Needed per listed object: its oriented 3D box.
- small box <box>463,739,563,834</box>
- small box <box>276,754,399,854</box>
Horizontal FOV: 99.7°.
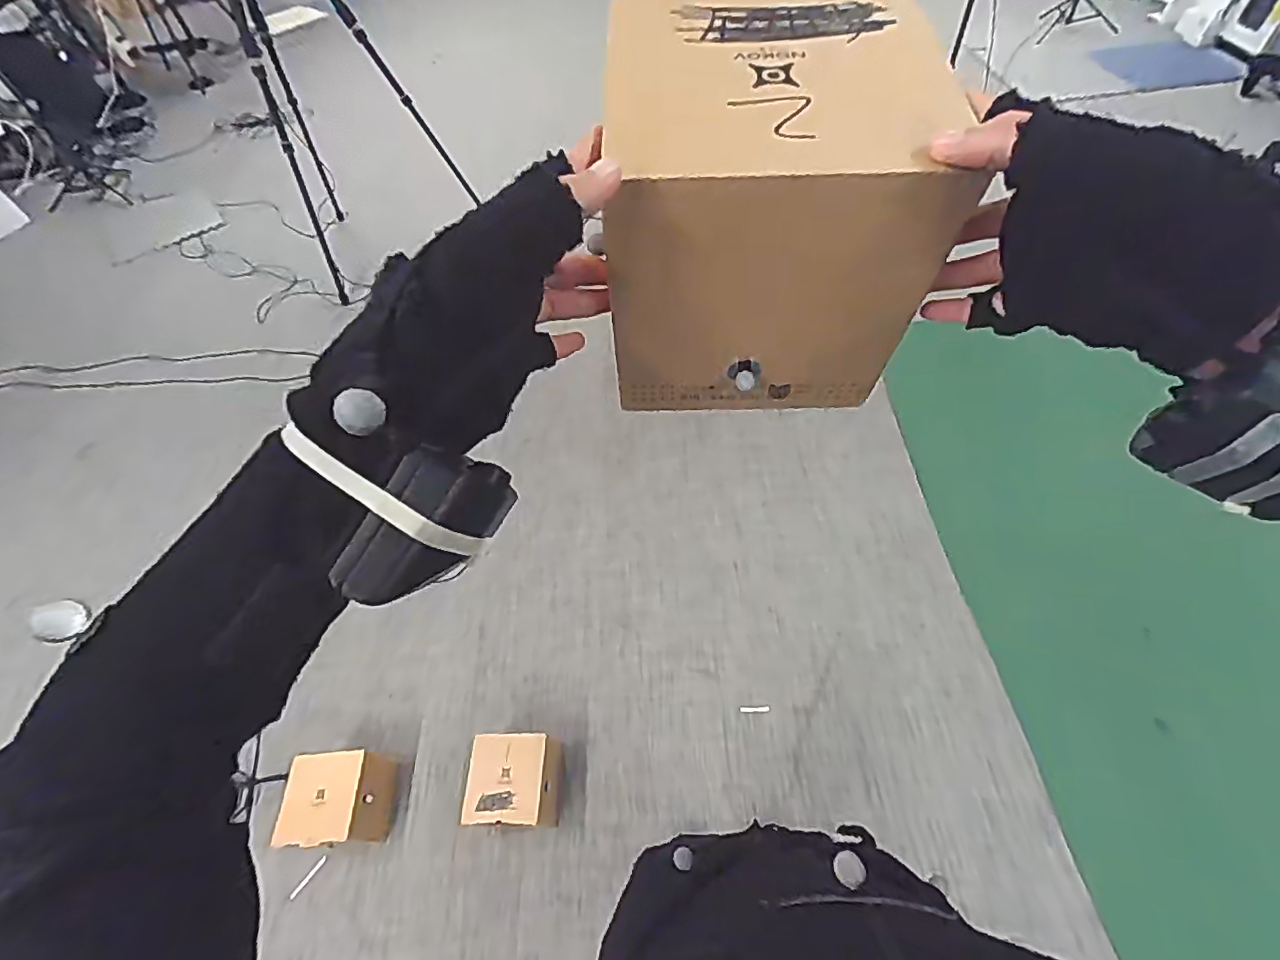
[{"bbox_3d":[-0.276,0.695,1.222,0.168,0.176,0.179,-2,54,5],"label":"small box"},{"bbox_3d":[-0.676,0.743,1.236,0.168,0.176,0.179,-7,55,2],"label":"small box"}]
